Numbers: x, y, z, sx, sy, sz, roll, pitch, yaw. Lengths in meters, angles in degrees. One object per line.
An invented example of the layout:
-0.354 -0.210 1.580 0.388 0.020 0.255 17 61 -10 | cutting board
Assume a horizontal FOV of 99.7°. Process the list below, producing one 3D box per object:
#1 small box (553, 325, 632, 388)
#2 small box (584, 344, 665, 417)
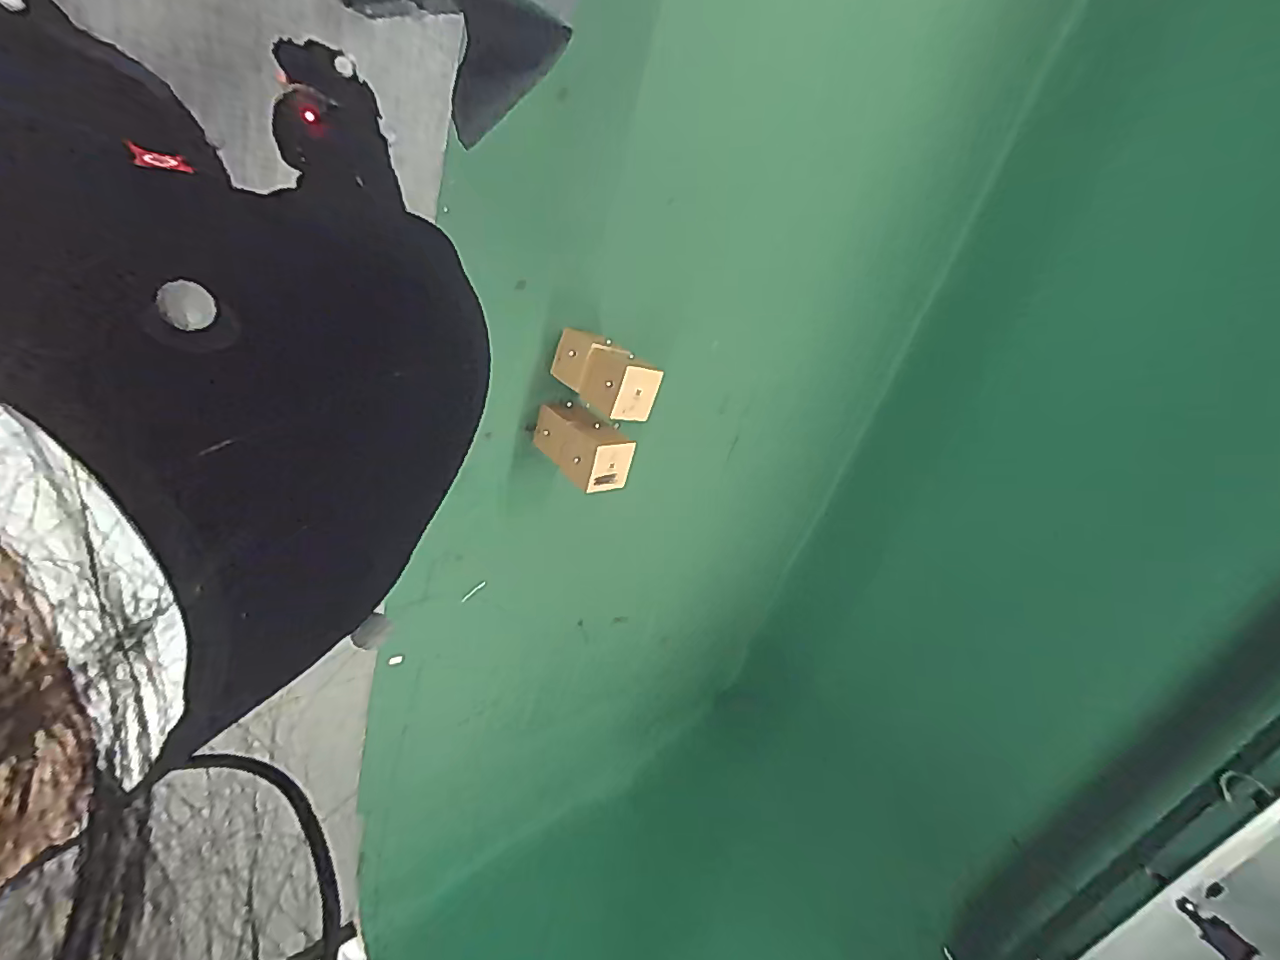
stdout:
-0.164 -0.406 1.812 0.179 0.176 0.168 -1 120 -47 | small box
-0.056 -0.317 1.724 0.168 0.176 0.179 -2 121 -46 | small box
